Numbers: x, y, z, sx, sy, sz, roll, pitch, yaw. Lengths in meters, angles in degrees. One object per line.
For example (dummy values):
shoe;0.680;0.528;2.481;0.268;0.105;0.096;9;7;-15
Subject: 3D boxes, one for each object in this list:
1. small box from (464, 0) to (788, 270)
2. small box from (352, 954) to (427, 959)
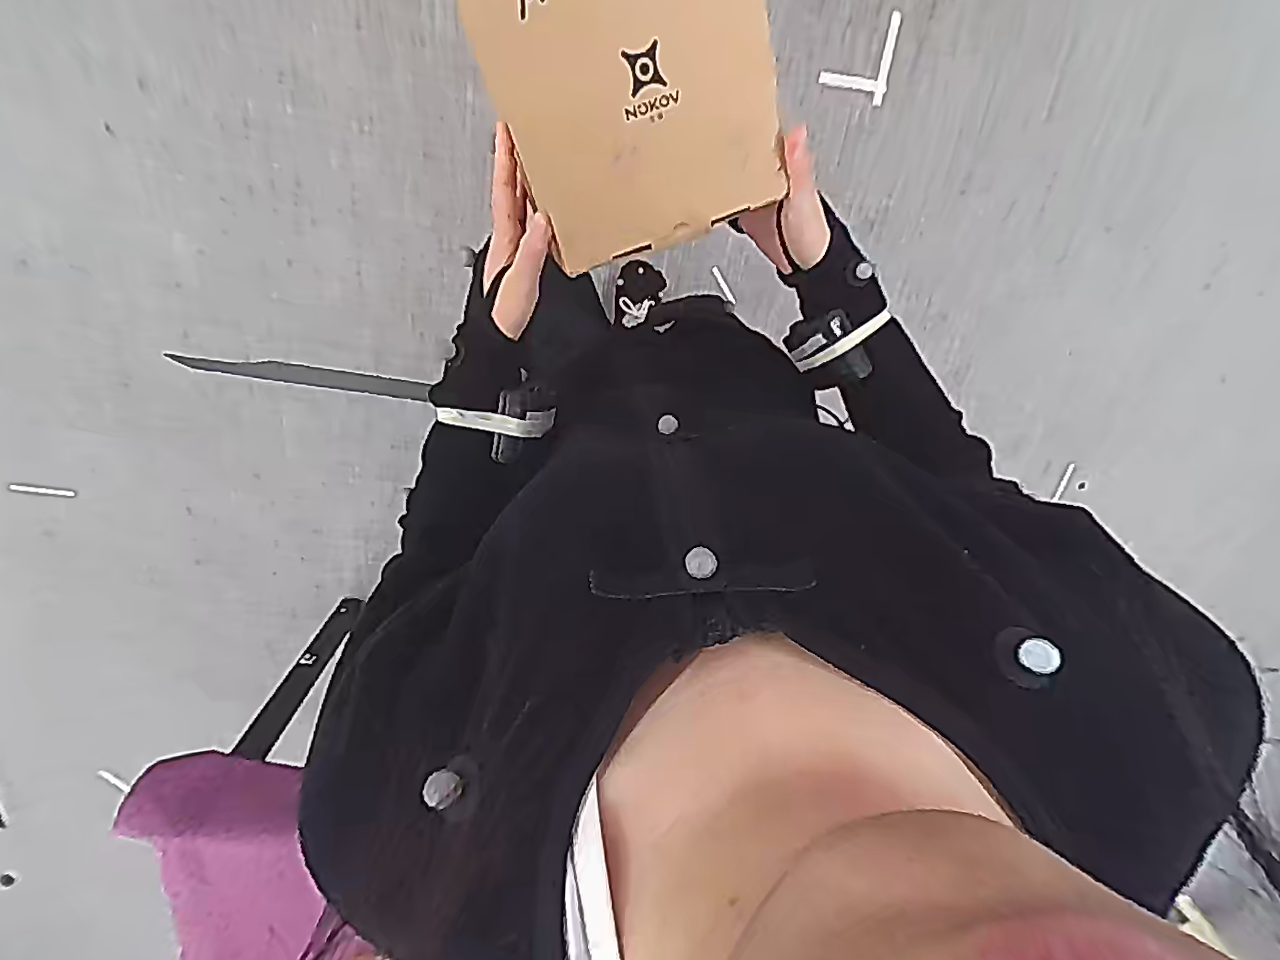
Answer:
small box;-0.015;-0.277;0.392;0.168;0.176;0.179;-23;122;-5
small box;-0.516;1.087;1.067;0.168;0.176;0.179;7;110;-8
